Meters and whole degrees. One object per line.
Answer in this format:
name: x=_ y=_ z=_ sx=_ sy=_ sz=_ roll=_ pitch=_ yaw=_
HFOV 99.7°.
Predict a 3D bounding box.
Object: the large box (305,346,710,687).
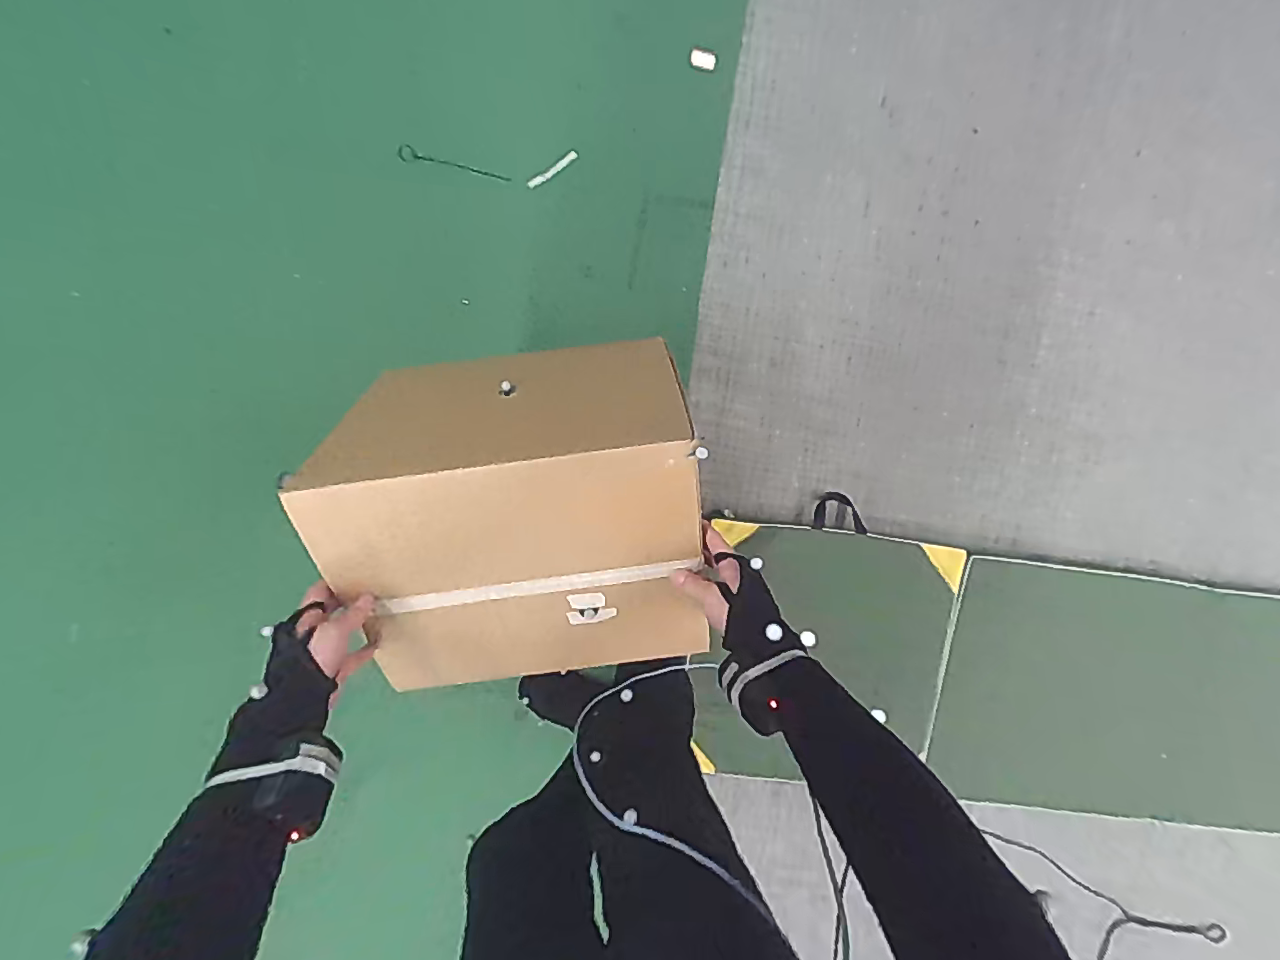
large box: x=-0.136 y=0.034 z=0.741 sx=0.408 sy=0.320 sz=0.320 roll=-8 pitch=124 yaw=0
